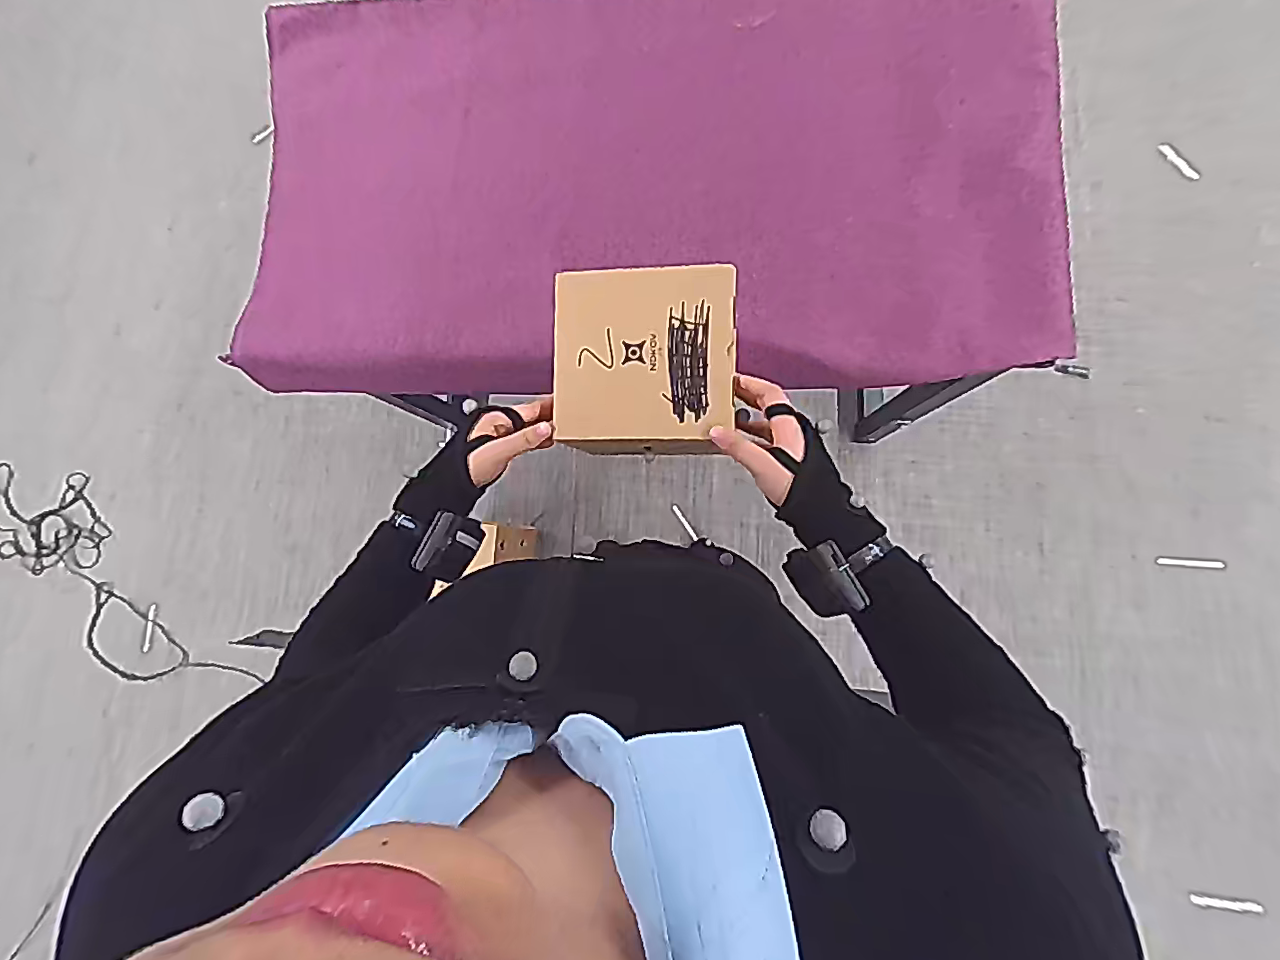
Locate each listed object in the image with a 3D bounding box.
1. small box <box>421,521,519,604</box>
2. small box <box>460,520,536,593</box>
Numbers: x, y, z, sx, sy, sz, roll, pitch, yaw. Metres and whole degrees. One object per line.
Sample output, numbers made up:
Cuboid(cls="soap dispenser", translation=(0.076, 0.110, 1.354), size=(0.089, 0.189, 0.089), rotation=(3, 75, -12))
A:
Cuboid(cls="small box", translation=(-0.397, 0.194, 1.293), size=(0.168, 0.176, 0.179), rotation=(3, 84, 6))
Cuboid(cls="small box", translation=(-0.389, 0.209, 1.457), size=(0.168, 0.176, 0.179), rotation=(8, 84, 6))
